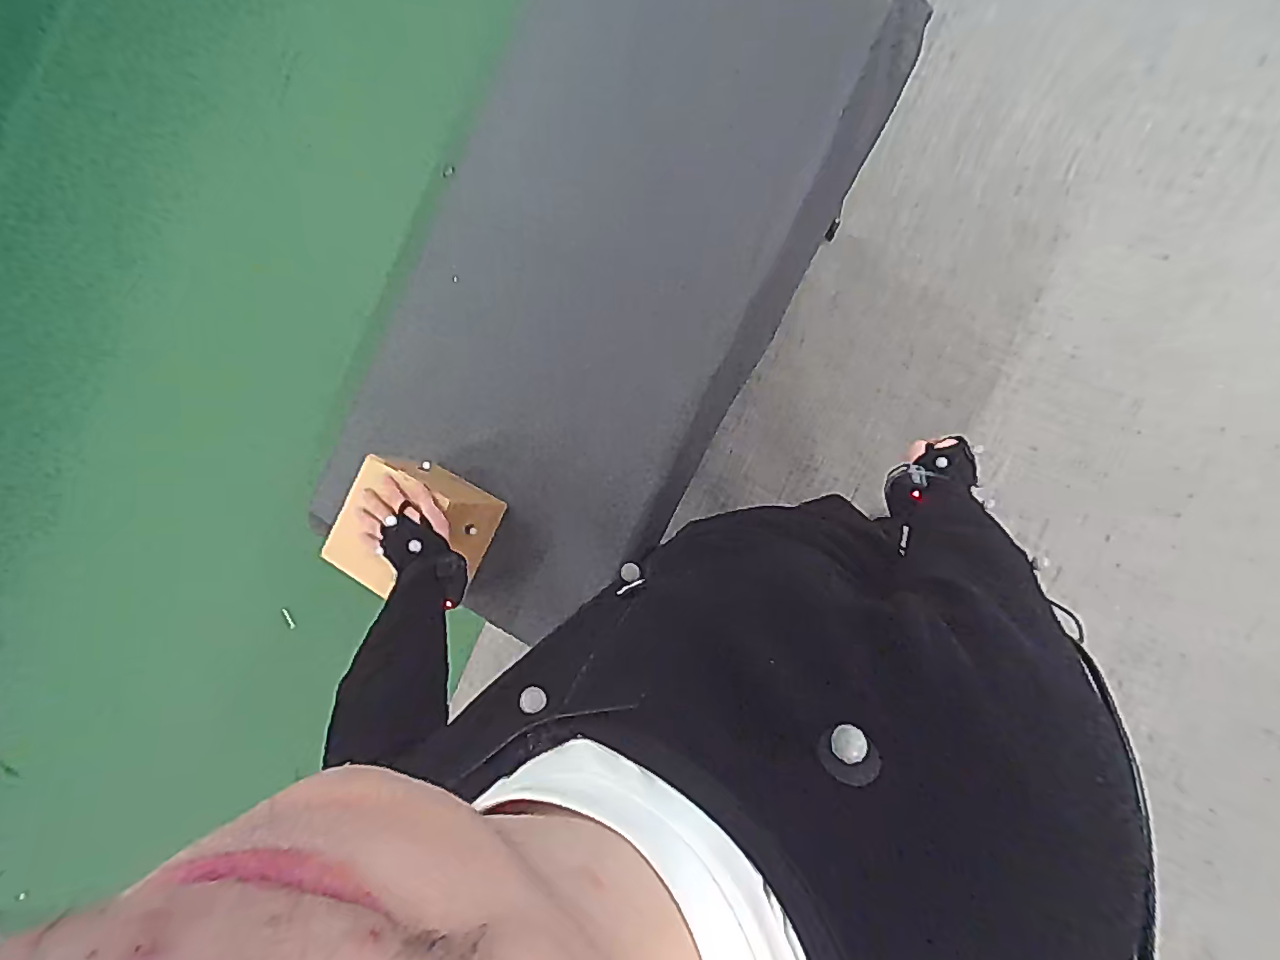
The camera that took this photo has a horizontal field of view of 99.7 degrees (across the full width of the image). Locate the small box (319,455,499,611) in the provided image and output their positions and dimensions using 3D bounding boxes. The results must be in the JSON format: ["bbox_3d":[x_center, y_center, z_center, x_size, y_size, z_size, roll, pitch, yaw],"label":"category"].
[{"bbox_3d":[-0.352,0.082,0.858,0.168,0.176,0.179,28,92,17],"label":"small box"}]
